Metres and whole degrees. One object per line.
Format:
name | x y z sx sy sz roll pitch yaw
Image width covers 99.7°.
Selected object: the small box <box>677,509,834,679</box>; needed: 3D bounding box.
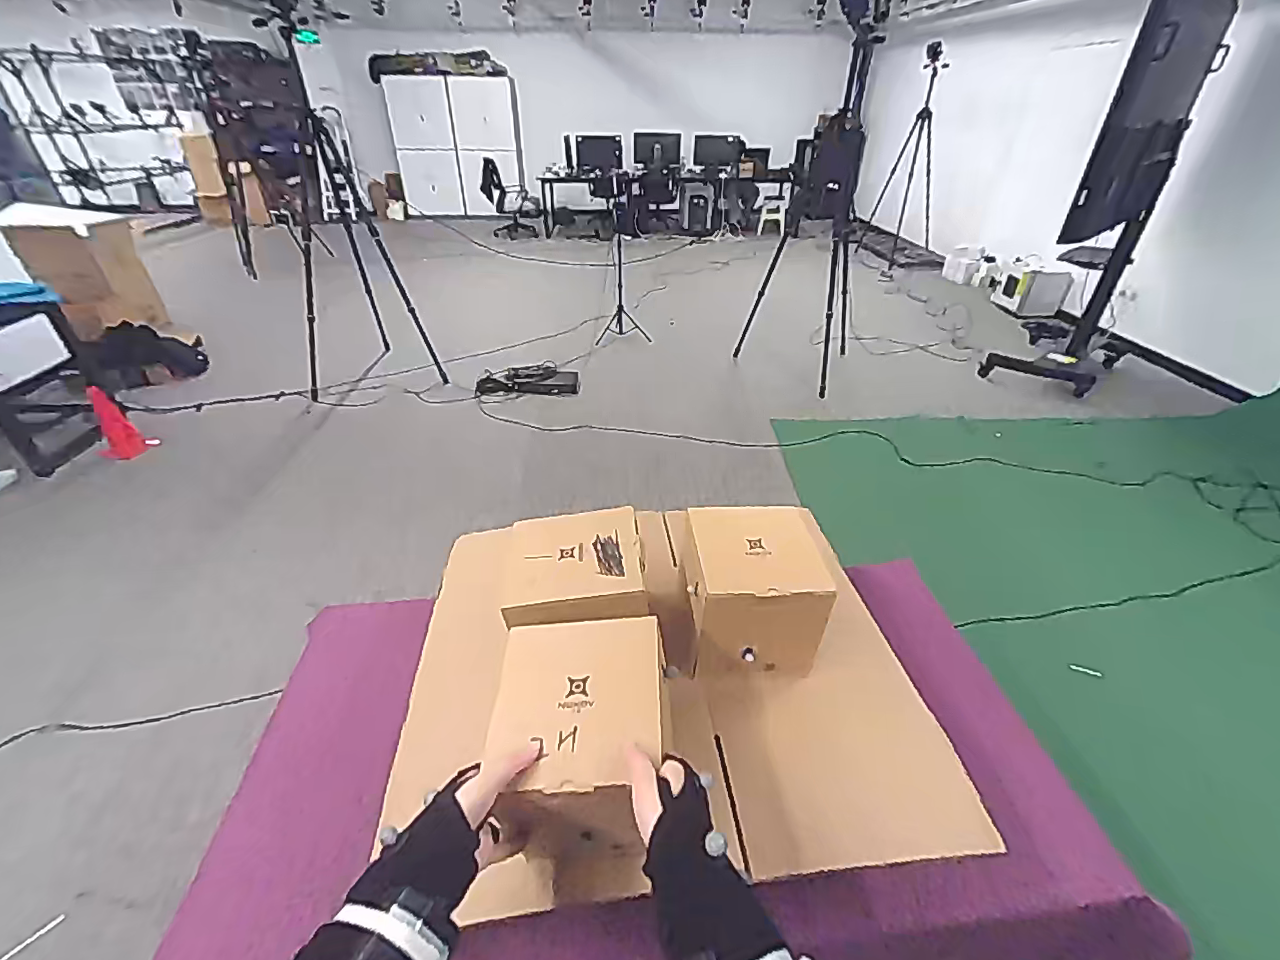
small box | 0.149 0.160 0.773 0.168 0.176 0.179 0 35 -5
